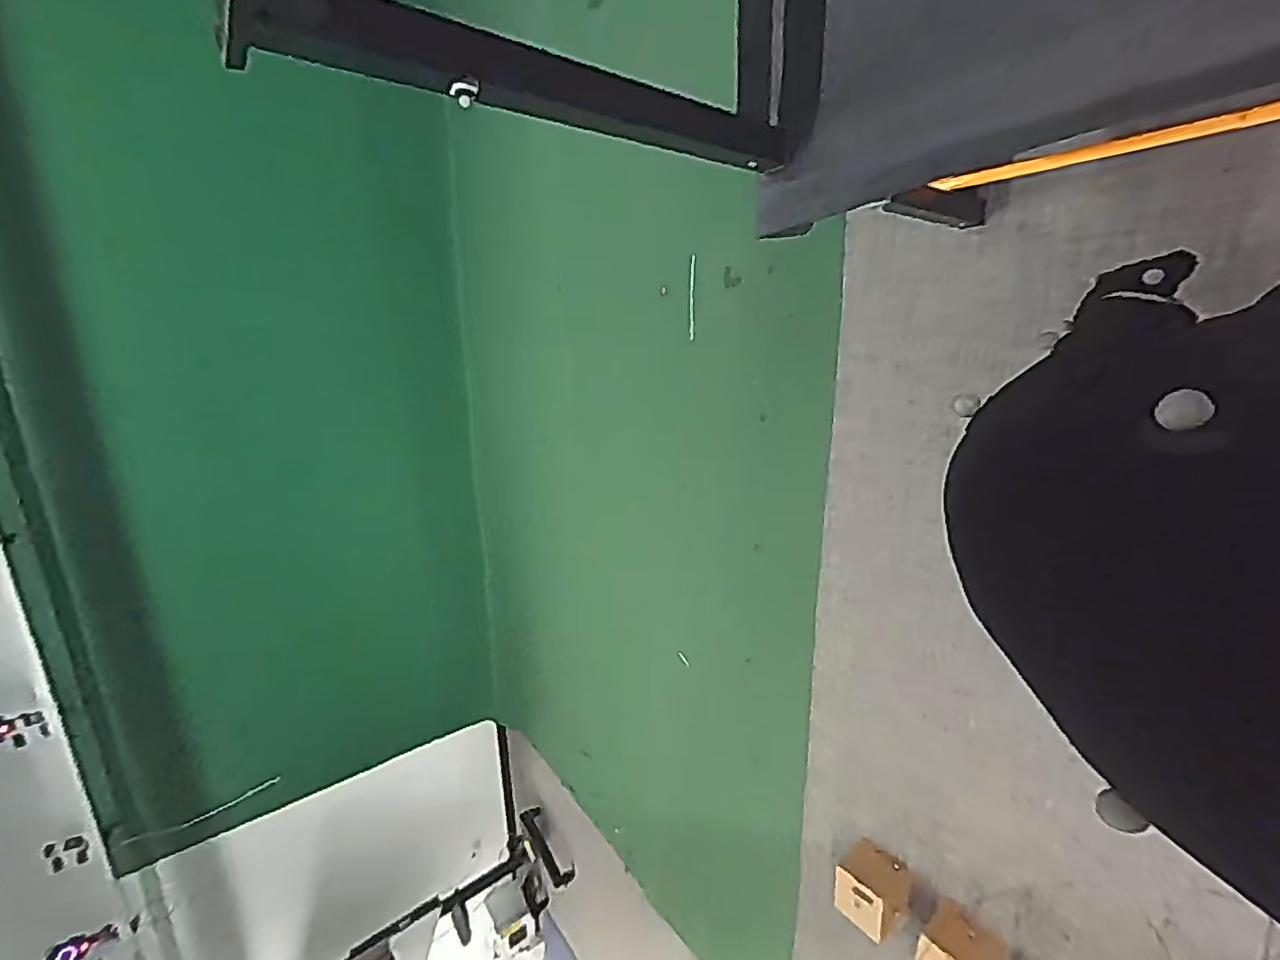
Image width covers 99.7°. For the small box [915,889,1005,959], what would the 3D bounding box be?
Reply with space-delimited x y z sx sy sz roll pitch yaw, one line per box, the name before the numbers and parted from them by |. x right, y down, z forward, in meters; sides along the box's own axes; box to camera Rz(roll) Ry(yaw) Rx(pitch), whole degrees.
small box | 0.942 1.377 1.593 0.168 0.176 0.179 20 115 51

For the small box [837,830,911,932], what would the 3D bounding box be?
small box | 0.781 1.323 1.801 0.168 0.176 0.179 16 112 52
